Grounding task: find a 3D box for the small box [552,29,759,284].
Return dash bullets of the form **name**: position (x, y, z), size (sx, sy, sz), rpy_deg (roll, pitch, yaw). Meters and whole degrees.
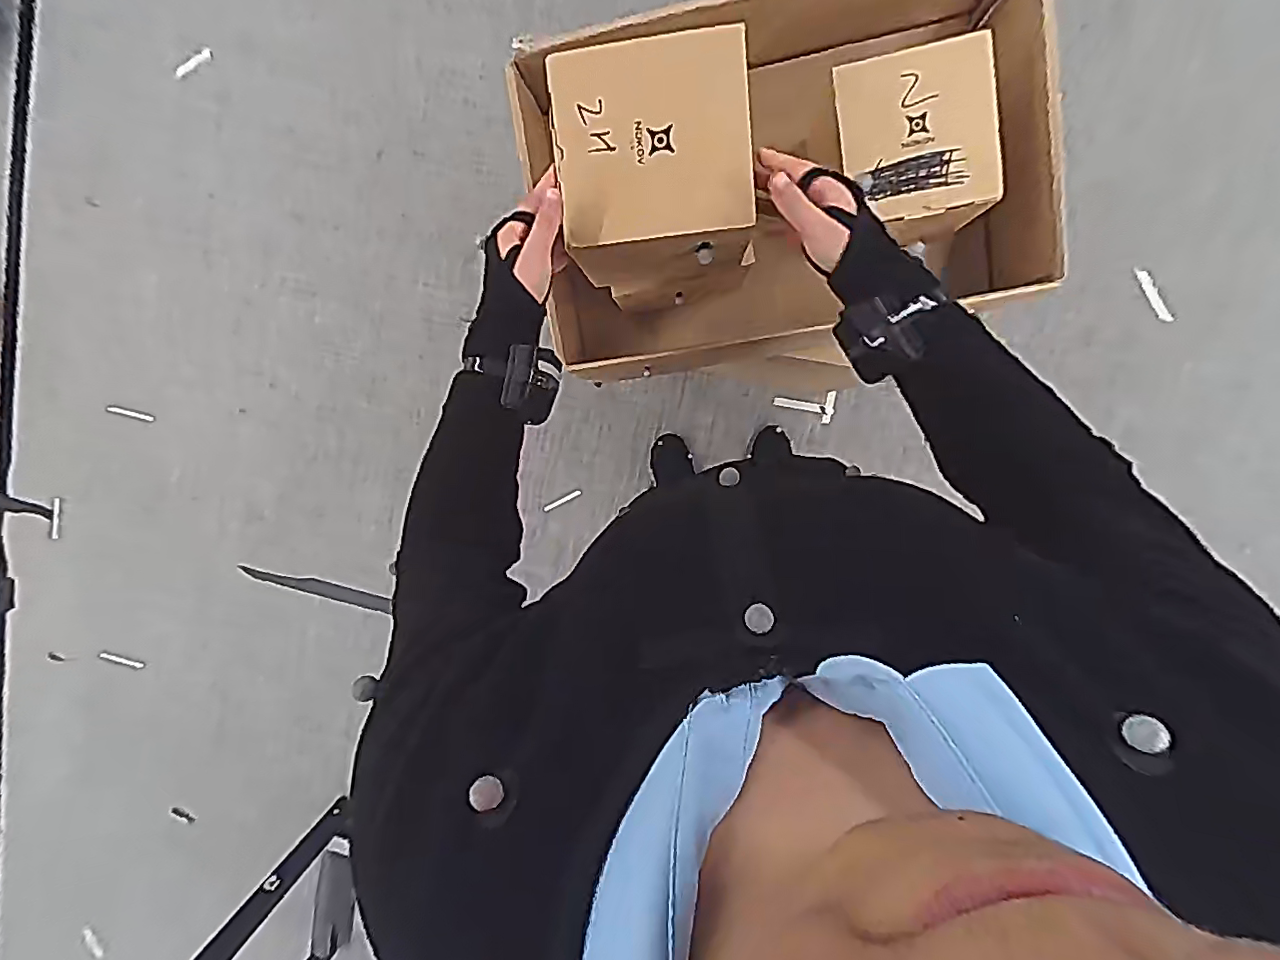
- **small box**: position (0.021, -0.309, 0.556), size (0.179, 0.176, 0.168), rpy_deg (-4, 97, 6)
